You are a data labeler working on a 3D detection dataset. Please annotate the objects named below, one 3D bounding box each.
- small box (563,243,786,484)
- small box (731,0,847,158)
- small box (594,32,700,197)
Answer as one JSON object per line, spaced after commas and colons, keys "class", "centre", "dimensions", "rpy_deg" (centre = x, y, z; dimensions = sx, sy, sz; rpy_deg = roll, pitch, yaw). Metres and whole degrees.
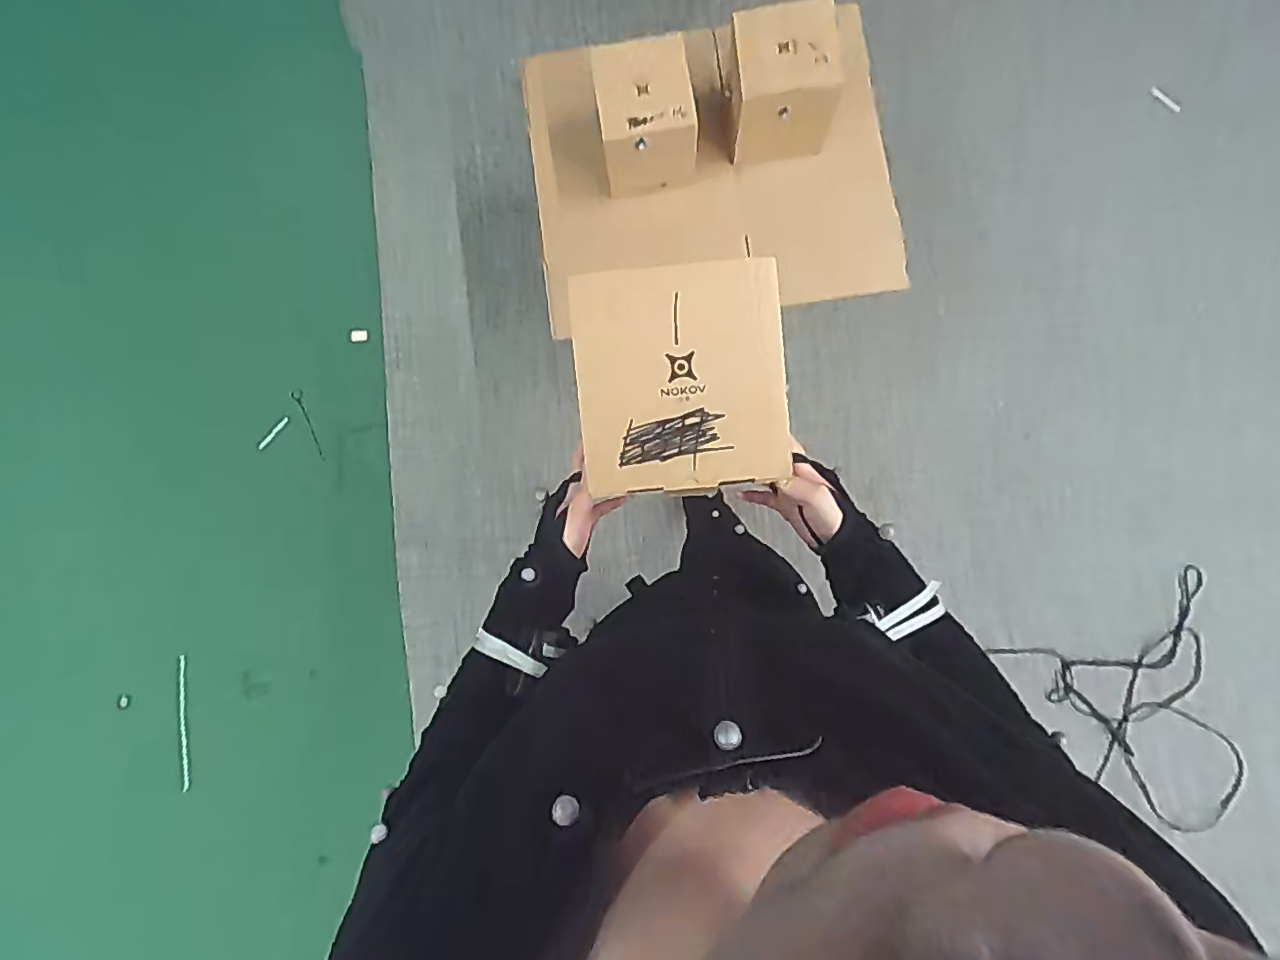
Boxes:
{"class": "small box", "centre": [0.030, -0.095, 0.502], "dimensions": [0.168, 0.176, 0.179], "rpy_deg": [-6, 93, 1]}
{"class": "small box", "centre": [0.261, -0.723, 0.991], "dimensions": [0.179, 0.176, 0.168], "rpy_deg": [-5, 85, 5]}
{"class": "small box", "centre": [0.015, -0.665, 1.000], "dimensions": [0.168, 0.176, 0.179], "rpy_deg": [-9, 83, 3]}
